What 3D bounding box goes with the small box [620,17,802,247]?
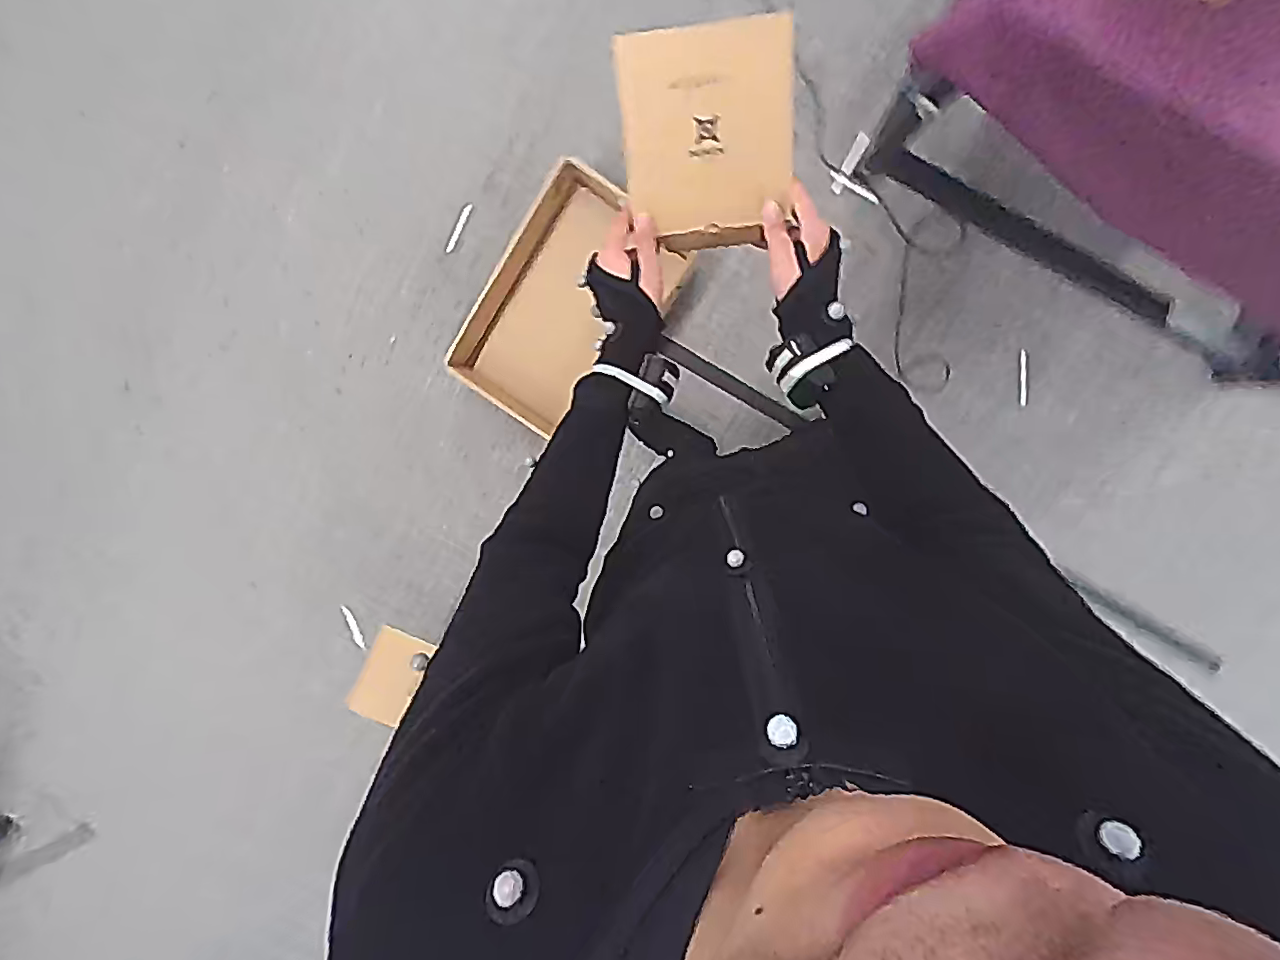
[{"bbox_3d":[0.072,-0.356,0.589,0.168,0.176,0.179,-5,112,3],"label":"small box"}]
